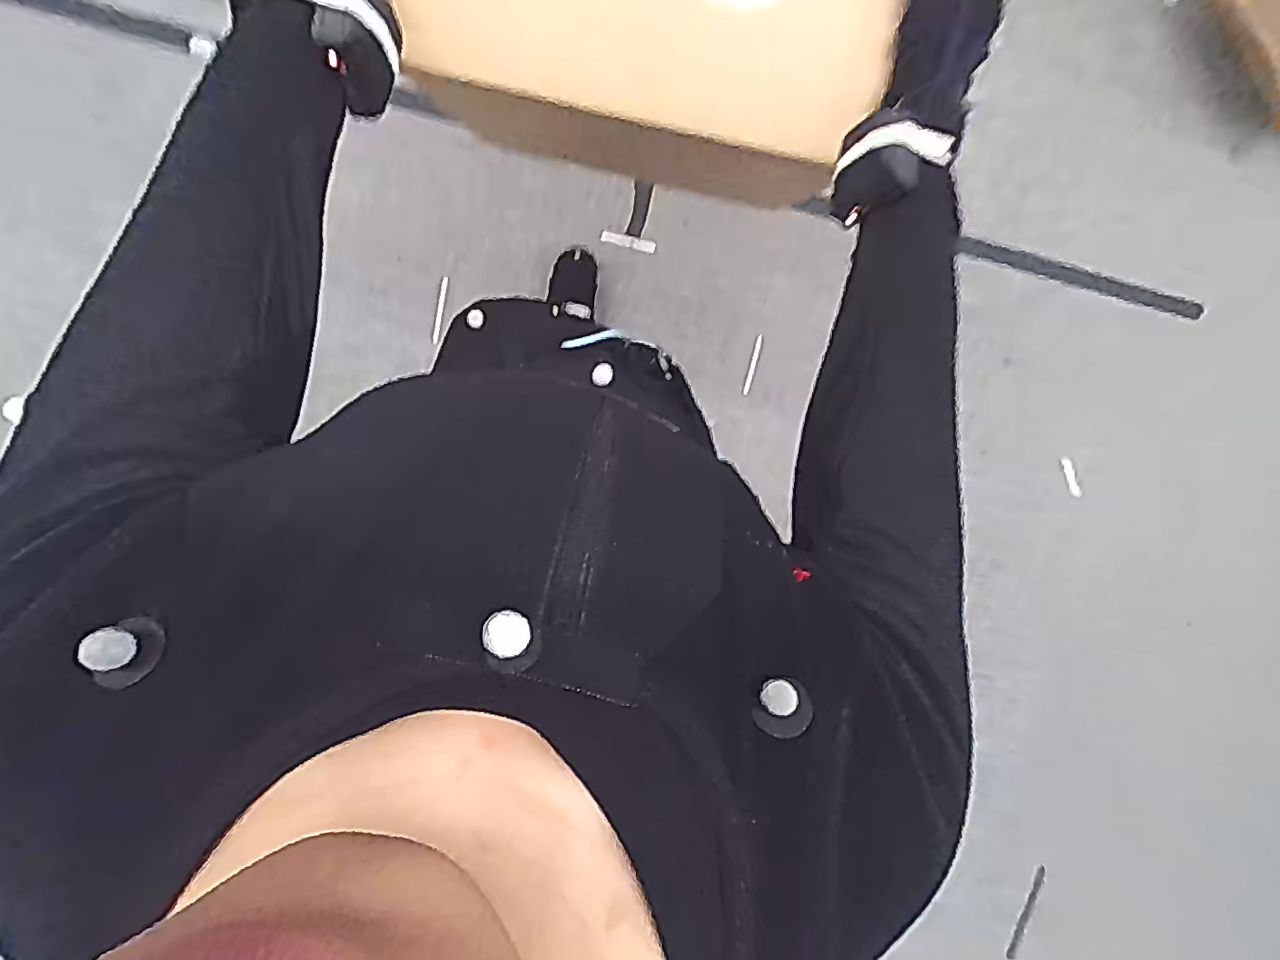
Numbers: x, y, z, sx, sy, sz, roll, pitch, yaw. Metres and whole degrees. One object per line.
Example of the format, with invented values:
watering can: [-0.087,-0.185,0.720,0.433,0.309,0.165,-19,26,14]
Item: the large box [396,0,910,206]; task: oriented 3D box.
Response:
large box: [0.022,-0.497,0.537,0.408,0.320,0.320,11,111,-5]
